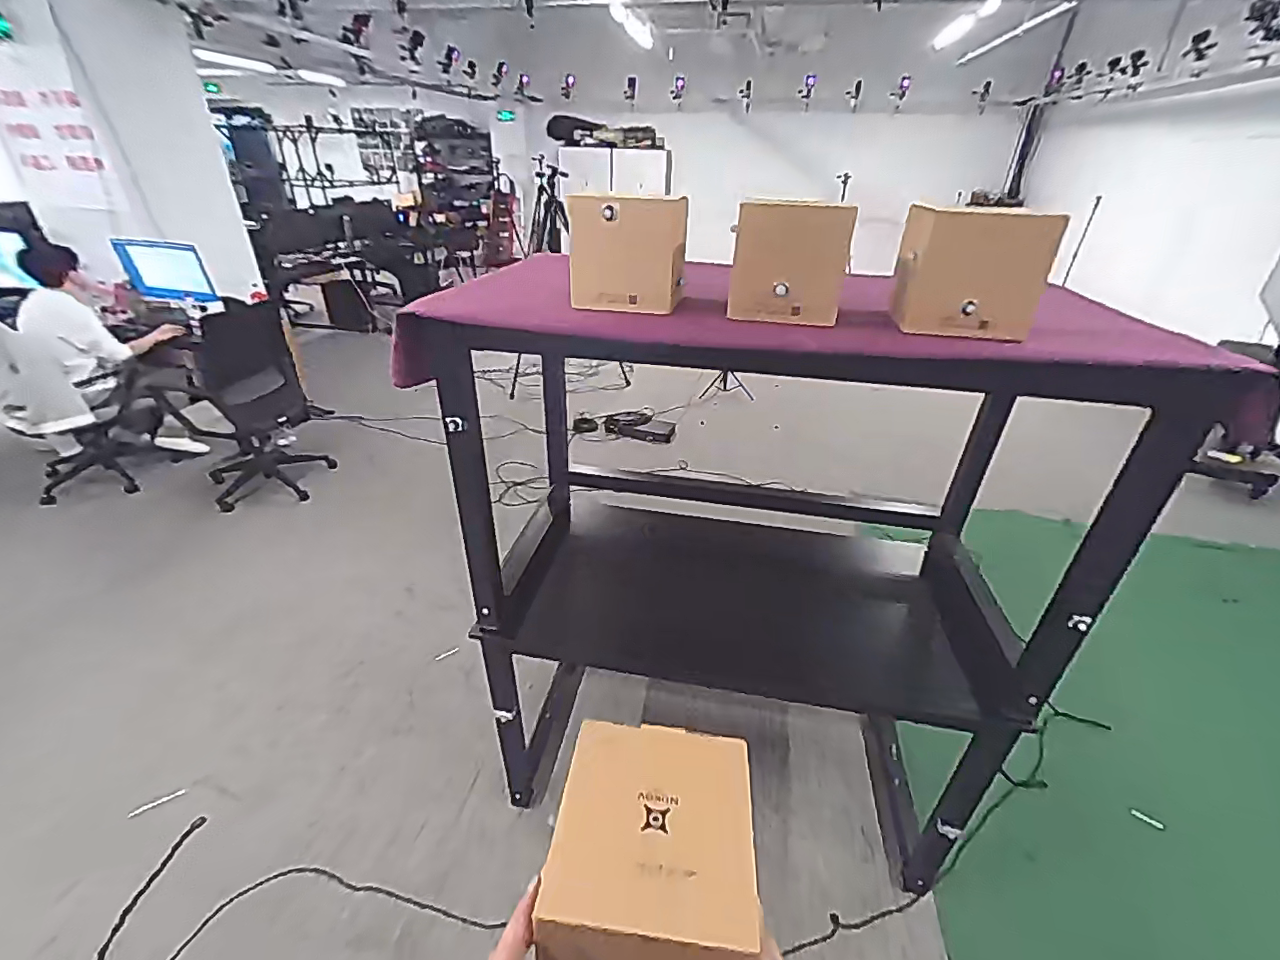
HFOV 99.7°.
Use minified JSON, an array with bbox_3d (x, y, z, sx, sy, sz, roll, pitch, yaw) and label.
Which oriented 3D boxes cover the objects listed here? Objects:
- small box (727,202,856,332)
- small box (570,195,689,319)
[{"bbox_3d":[0.234,-0.347,0.868,0.168,0.176,0.179,7,30,9],"label":"small box"},{"bbox_3d":[-0.015,-0.377,0.905,0.168,0.176,0.179,6,28,8],"label":"small box"}]
